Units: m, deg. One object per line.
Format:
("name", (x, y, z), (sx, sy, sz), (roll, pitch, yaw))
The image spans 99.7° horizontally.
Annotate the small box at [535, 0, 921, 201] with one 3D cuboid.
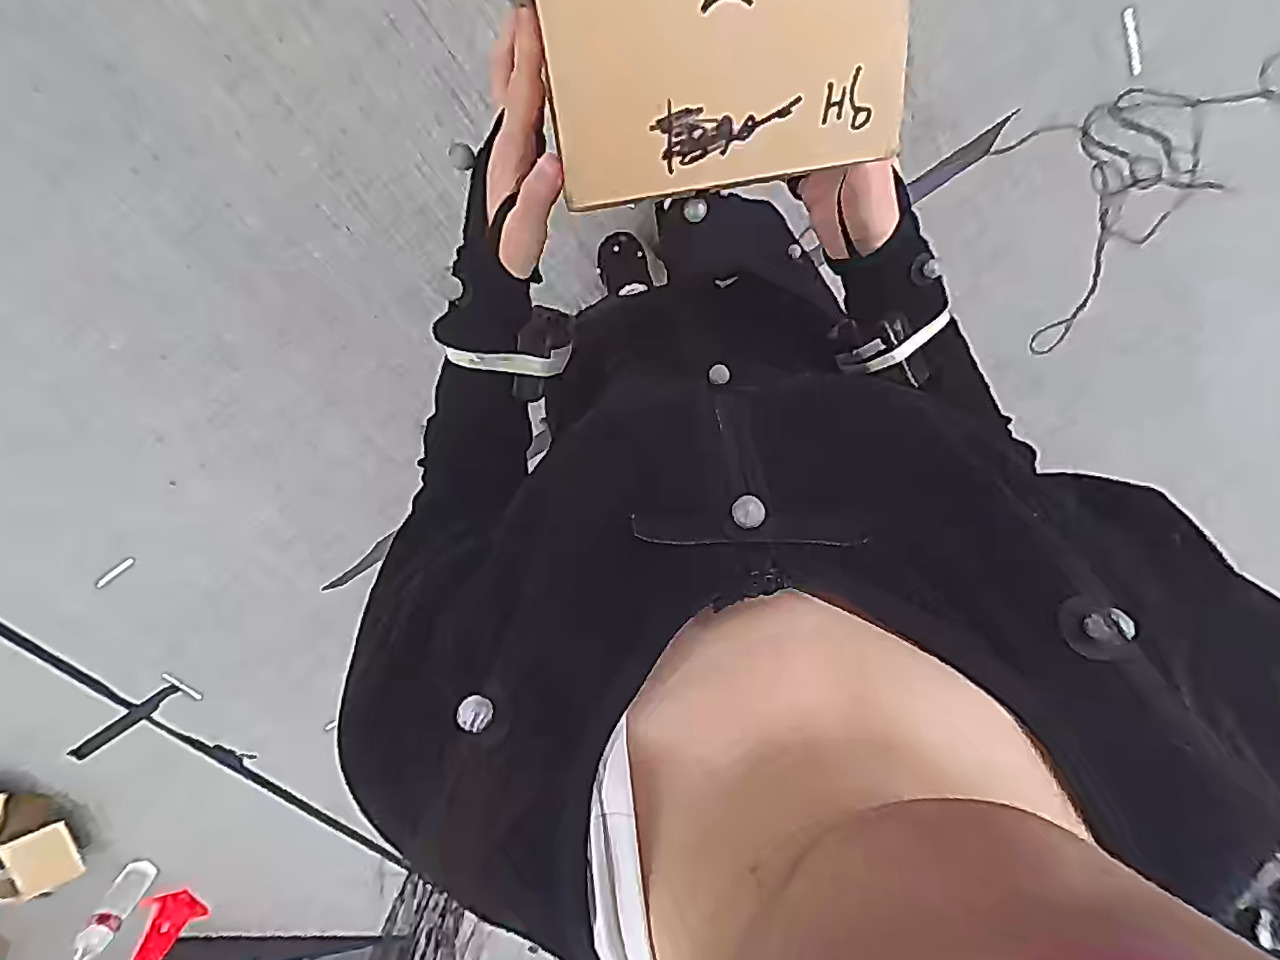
("small box", (0.028, -0.262, 0.291), (0.168, 0.176, 0.179), (-11, 116, -2))
